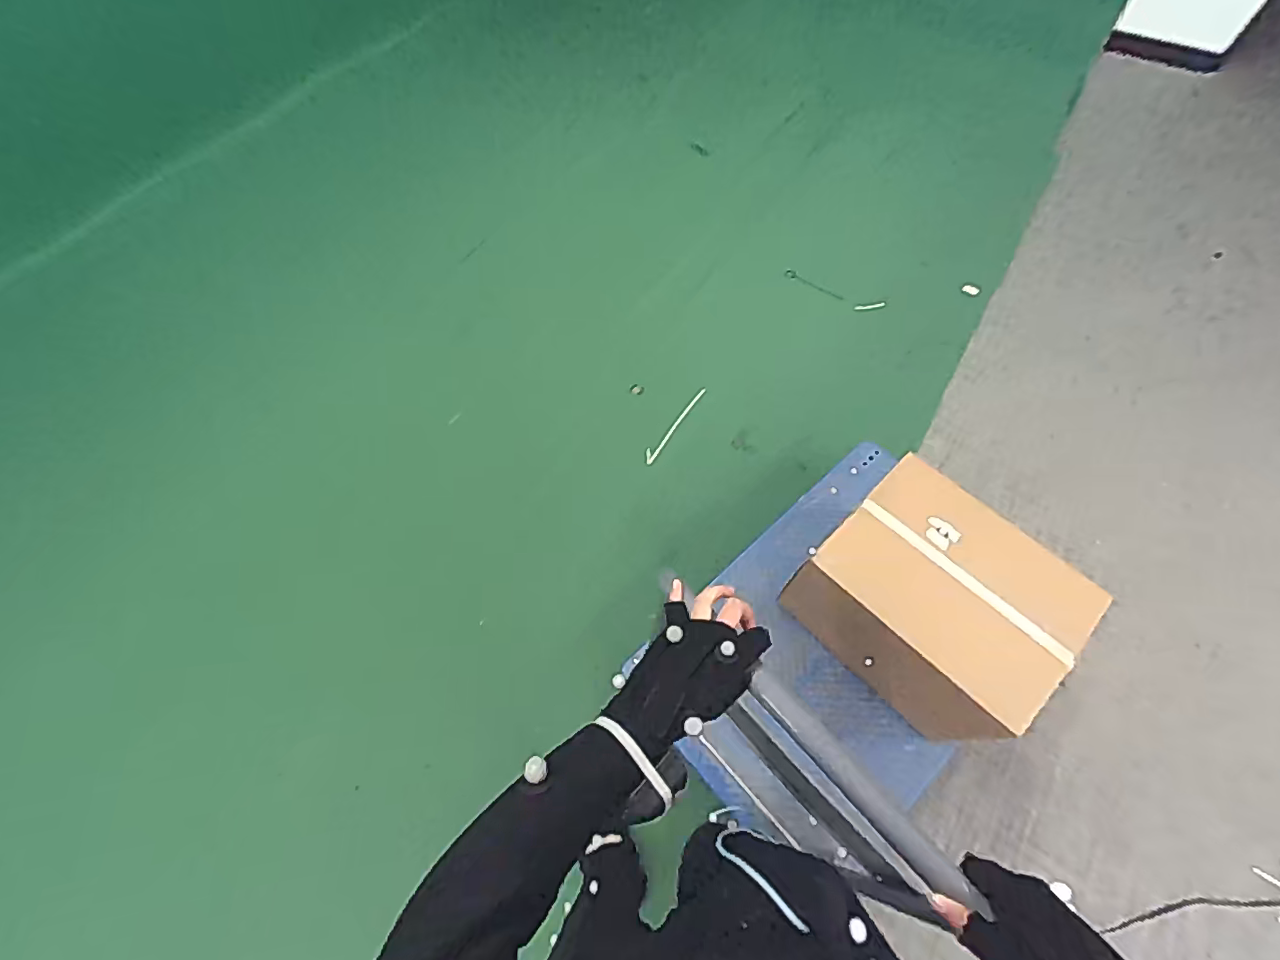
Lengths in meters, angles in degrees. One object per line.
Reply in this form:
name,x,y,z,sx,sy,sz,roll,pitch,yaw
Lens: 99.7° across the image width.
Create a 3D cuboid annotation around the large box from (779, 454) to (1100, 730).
large box,0.553,0.232,1.082,0.320,0.320,0.408,-41,68,-17
